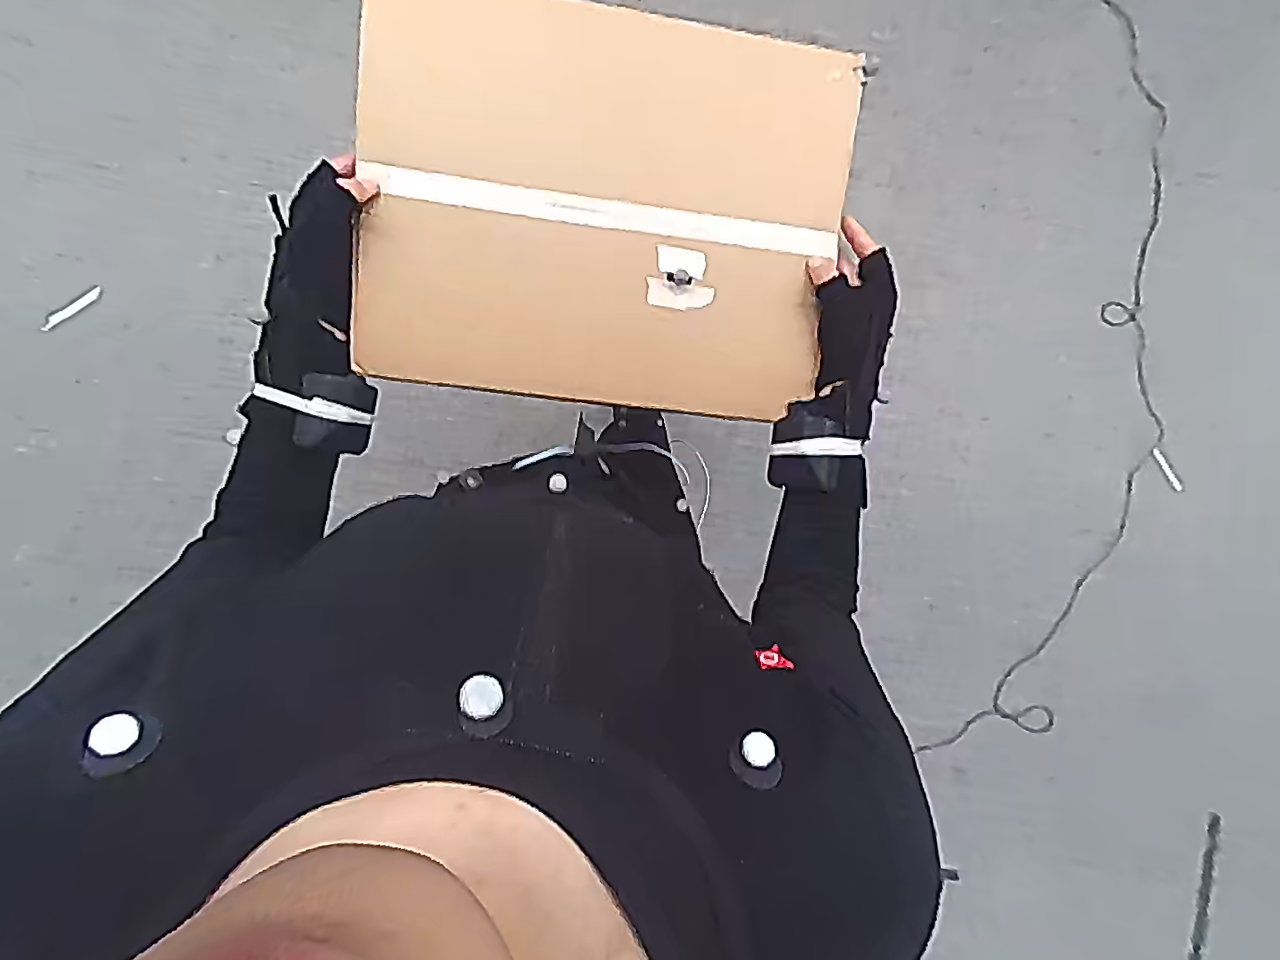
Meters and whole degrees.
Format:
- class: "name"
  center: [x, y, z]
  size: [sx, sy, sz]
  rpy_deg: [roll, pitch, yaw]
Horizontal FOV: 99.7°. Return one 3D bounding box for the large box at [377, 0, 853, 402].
- class: "large box"
  center: [-0.039, -0.262, 0.619]
  size: [0.408, 0.320, 0.320]
  rpy_deg: [5, 100, -7]
